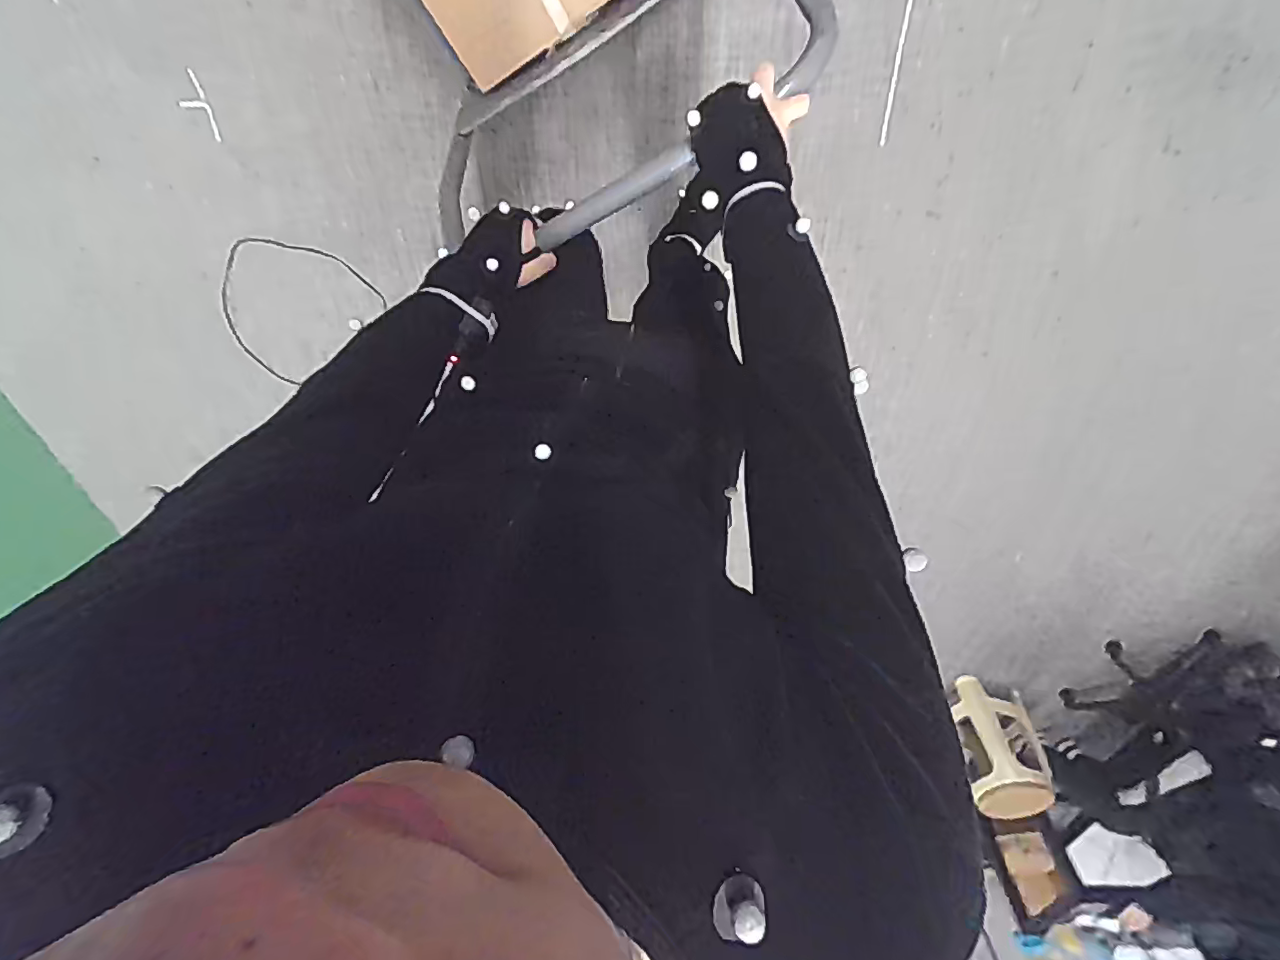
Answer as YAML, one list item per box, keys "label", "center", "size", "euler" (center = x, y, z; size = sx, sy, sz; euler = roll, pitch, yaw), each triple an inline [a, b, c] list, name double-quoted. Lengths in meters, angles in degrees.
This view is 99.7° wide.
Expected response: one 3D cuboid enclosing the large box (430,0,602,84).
- label: "large box"
  center: [-0.205, -0.886, 0.754]
  size: [0.320, 0.320, 0.408]
  euler: [-22, 137, 20]
